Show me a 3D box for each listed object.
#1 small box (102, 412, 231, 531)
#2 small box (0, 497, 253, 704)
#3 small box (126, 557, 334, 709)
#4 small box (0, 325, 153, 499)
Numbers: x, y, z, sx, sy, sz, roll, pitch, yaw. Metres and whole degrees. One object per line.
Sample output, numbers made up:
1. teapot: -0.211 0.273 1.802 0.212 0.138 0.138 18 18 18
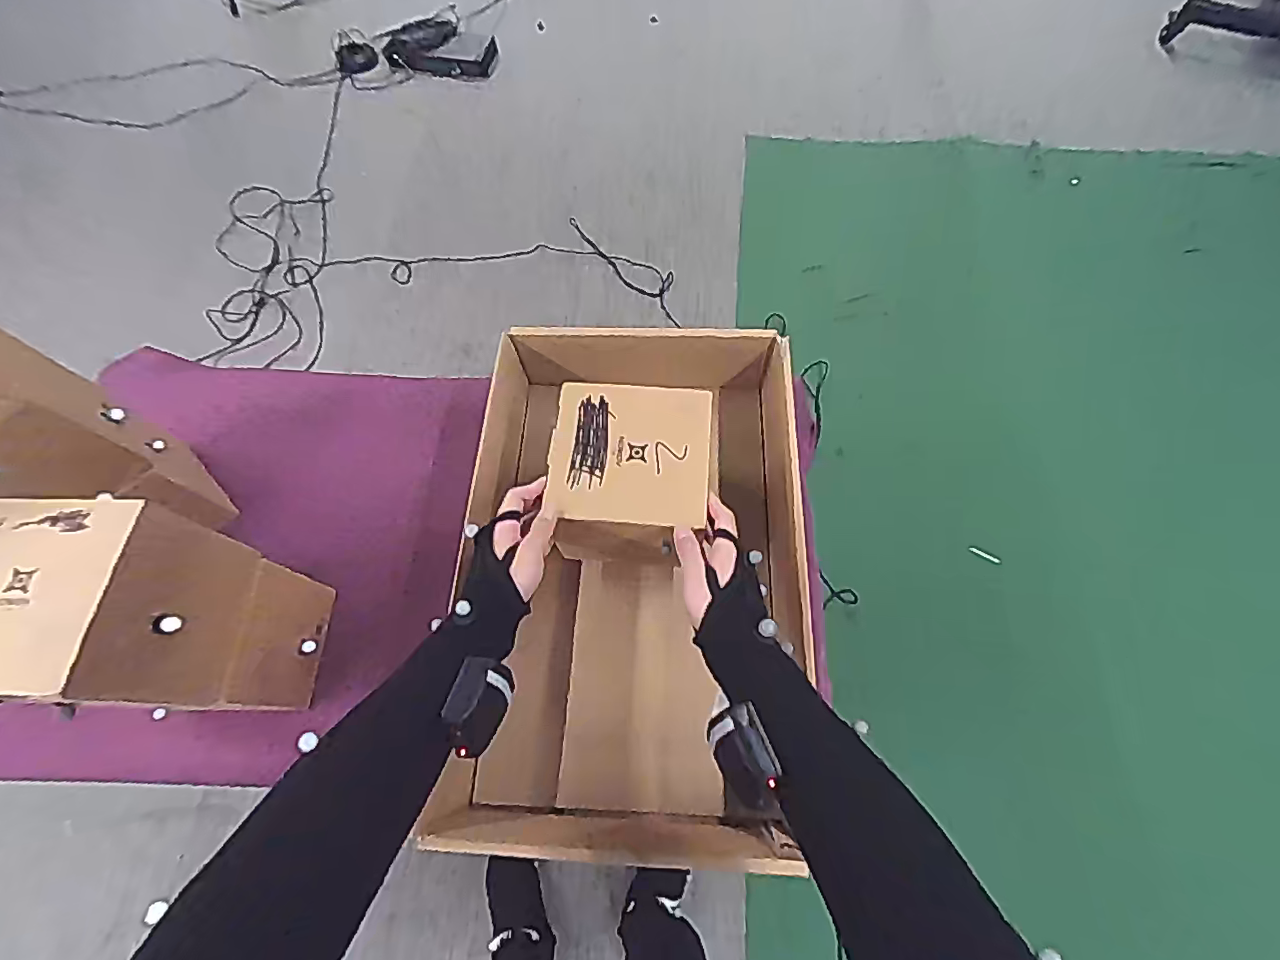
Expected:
1. small box: -0.743 0.017 0.771 0.179 0.176 0.168 42 73 16
2. small box: -0.537 0.128 0.541 0.168 0.176 0.179 1 66 1
3. small box: -0.534 0.199 0.689 0.179 0.176 0.168 0 66 0
4. small box: -0.740 -0.051 0.623 0.179 0.176 0.168 -43 74 -16
